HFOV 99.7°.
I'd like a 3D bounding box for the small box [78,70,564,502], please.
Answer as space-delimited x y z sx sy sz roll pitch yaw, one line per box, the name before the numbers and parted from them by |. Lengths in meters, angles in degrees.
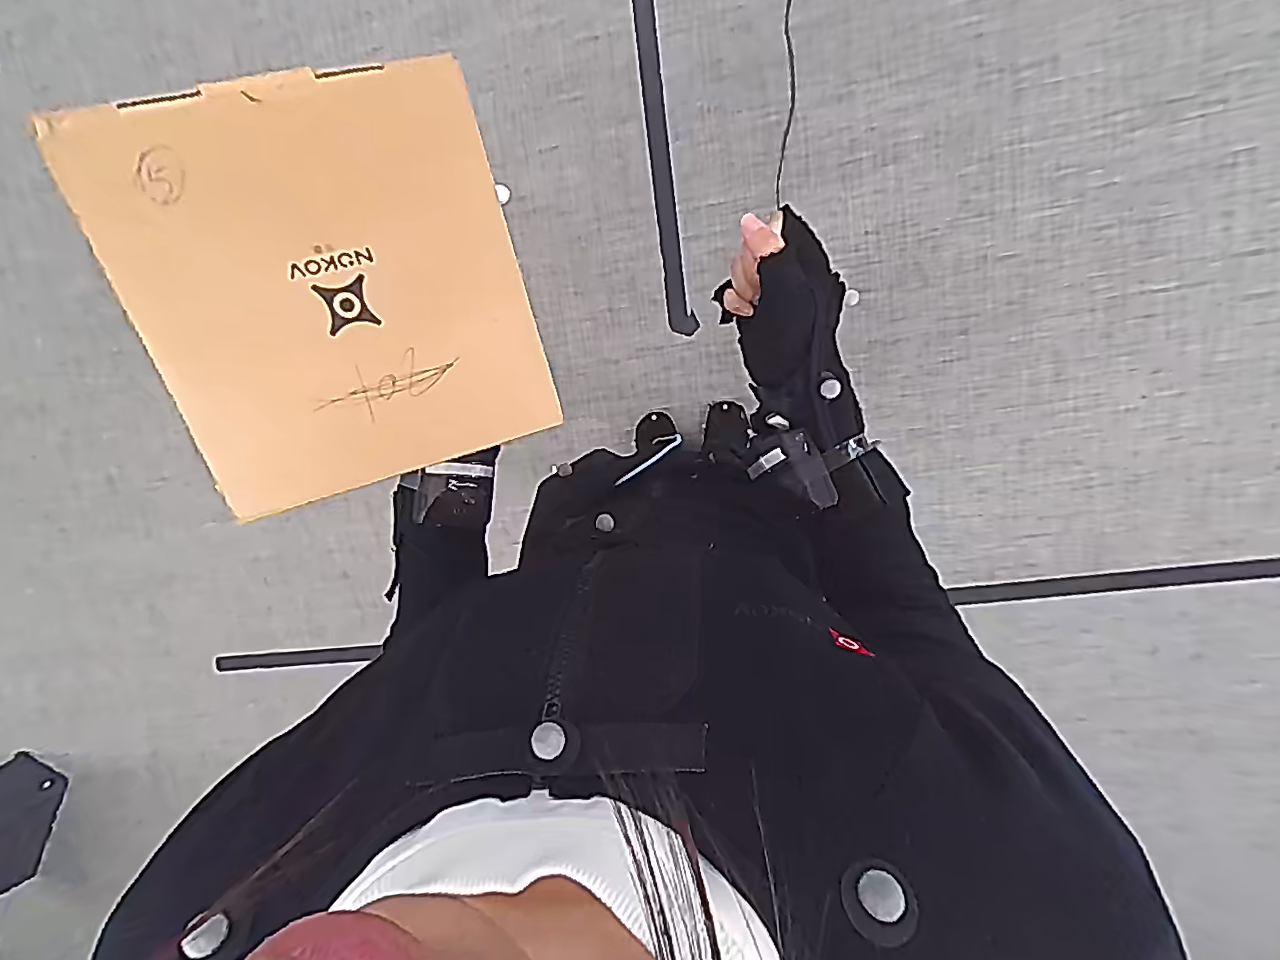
small box | -0.161 -0.109 0.337 0.168 0.176 0.179 -18 109 -12
